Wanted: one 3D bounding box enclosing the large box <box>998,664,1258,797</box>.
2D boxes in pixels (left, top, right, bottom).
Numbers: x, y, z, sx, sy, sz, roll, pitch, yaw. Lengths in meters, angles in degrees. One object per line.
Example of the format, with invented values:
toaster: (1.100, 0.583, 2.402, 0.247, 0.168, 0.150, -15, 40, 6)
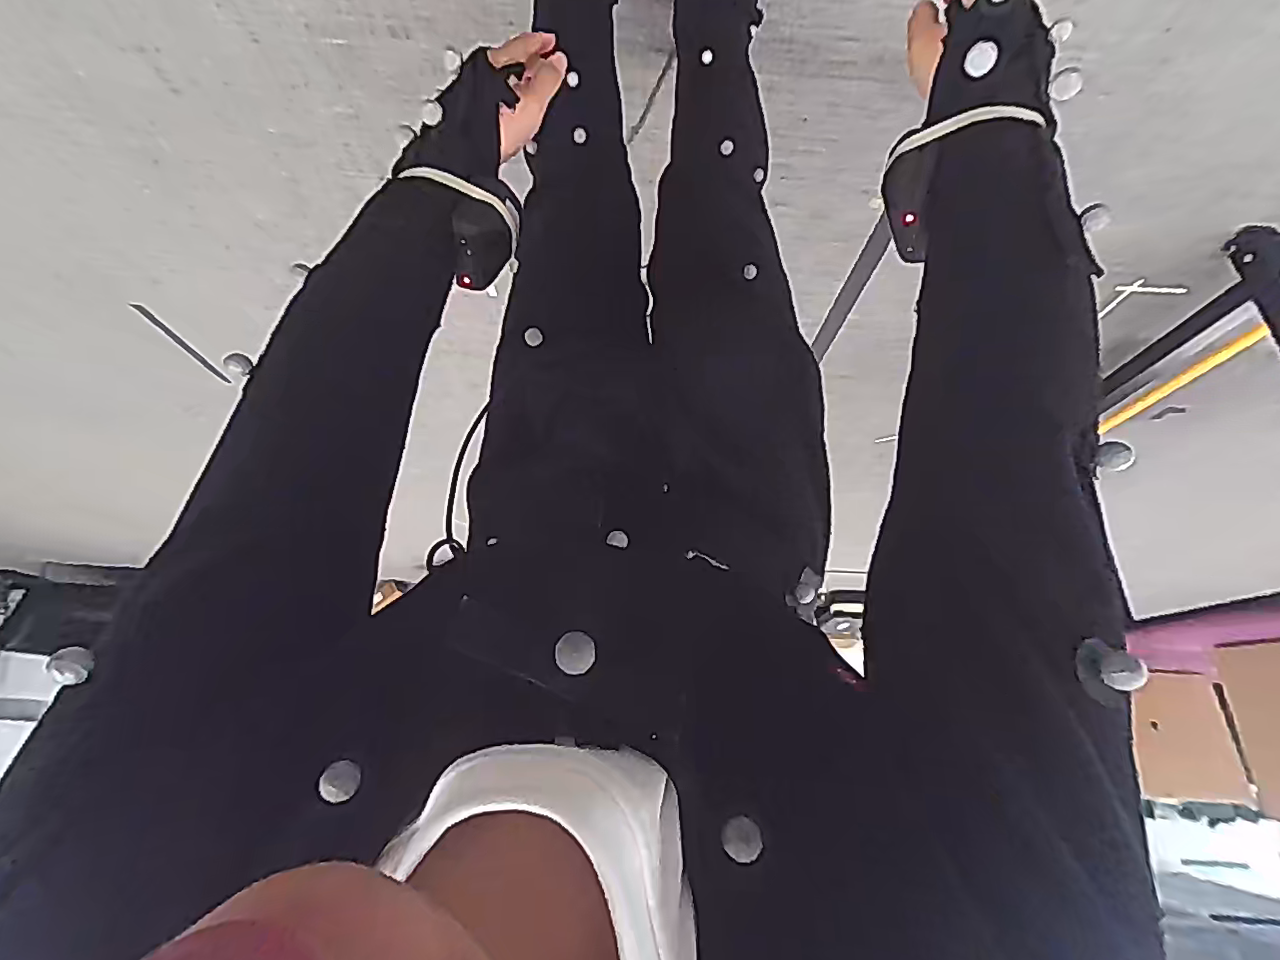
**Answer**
large box: (1.338, 0.706, 1.538, 0.408, 0.320, 0.320, 2, 156, 0)
